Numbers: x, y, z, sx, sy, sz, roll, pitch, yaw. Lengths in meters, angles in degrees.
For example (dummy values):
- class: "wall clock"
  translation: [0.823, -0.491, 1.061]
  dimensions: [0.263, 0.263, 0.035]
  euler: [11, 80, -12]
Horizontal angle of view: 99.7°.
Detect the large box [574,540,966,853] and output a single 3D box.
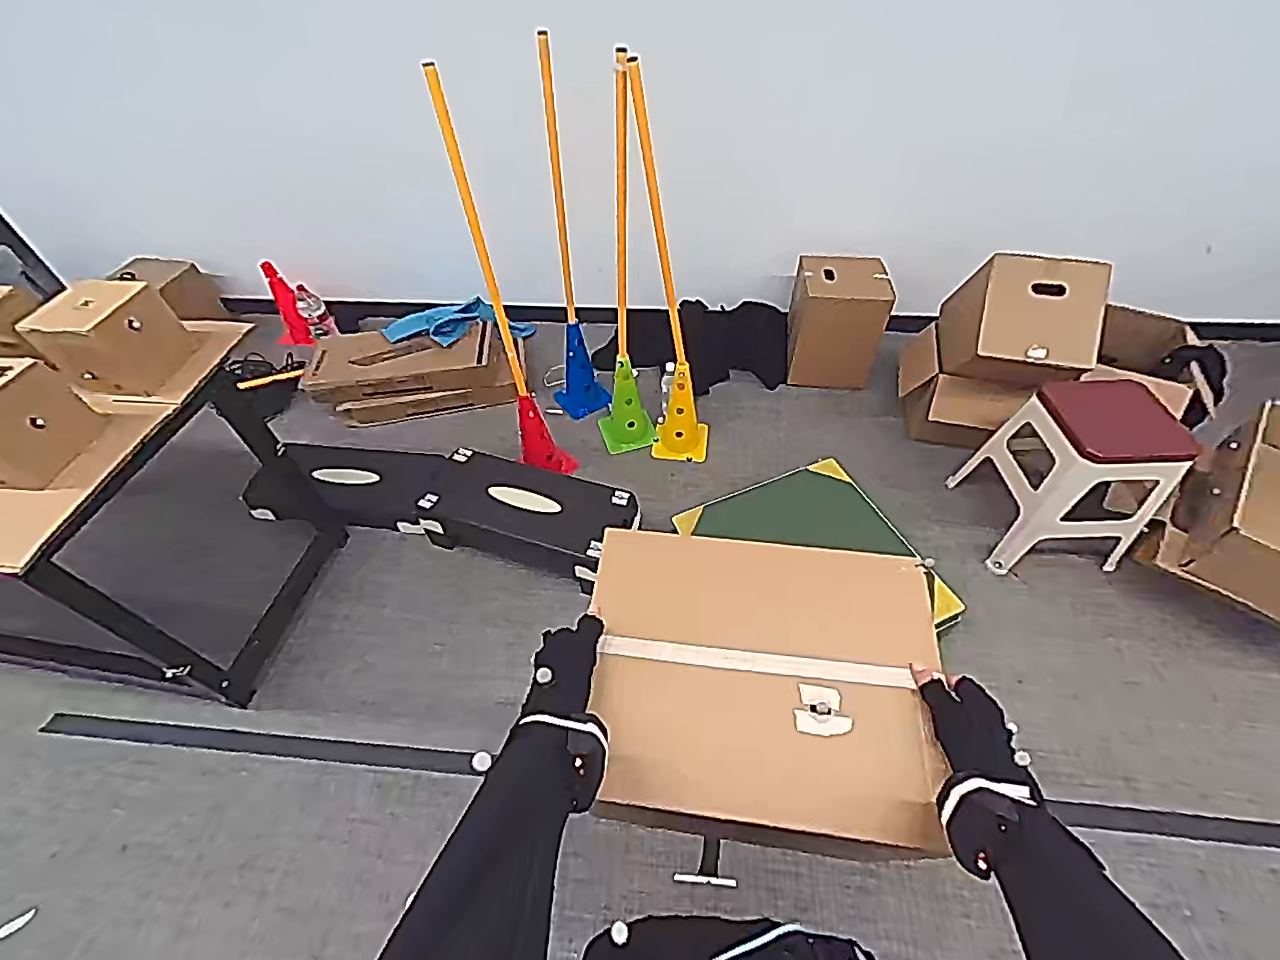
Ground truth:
- class: "large box"
  translation: [0.145, 0.306, 0.752]
  dimensions: [0.408, 0.320, 0.320]
  euler: [5, 56, 6]
